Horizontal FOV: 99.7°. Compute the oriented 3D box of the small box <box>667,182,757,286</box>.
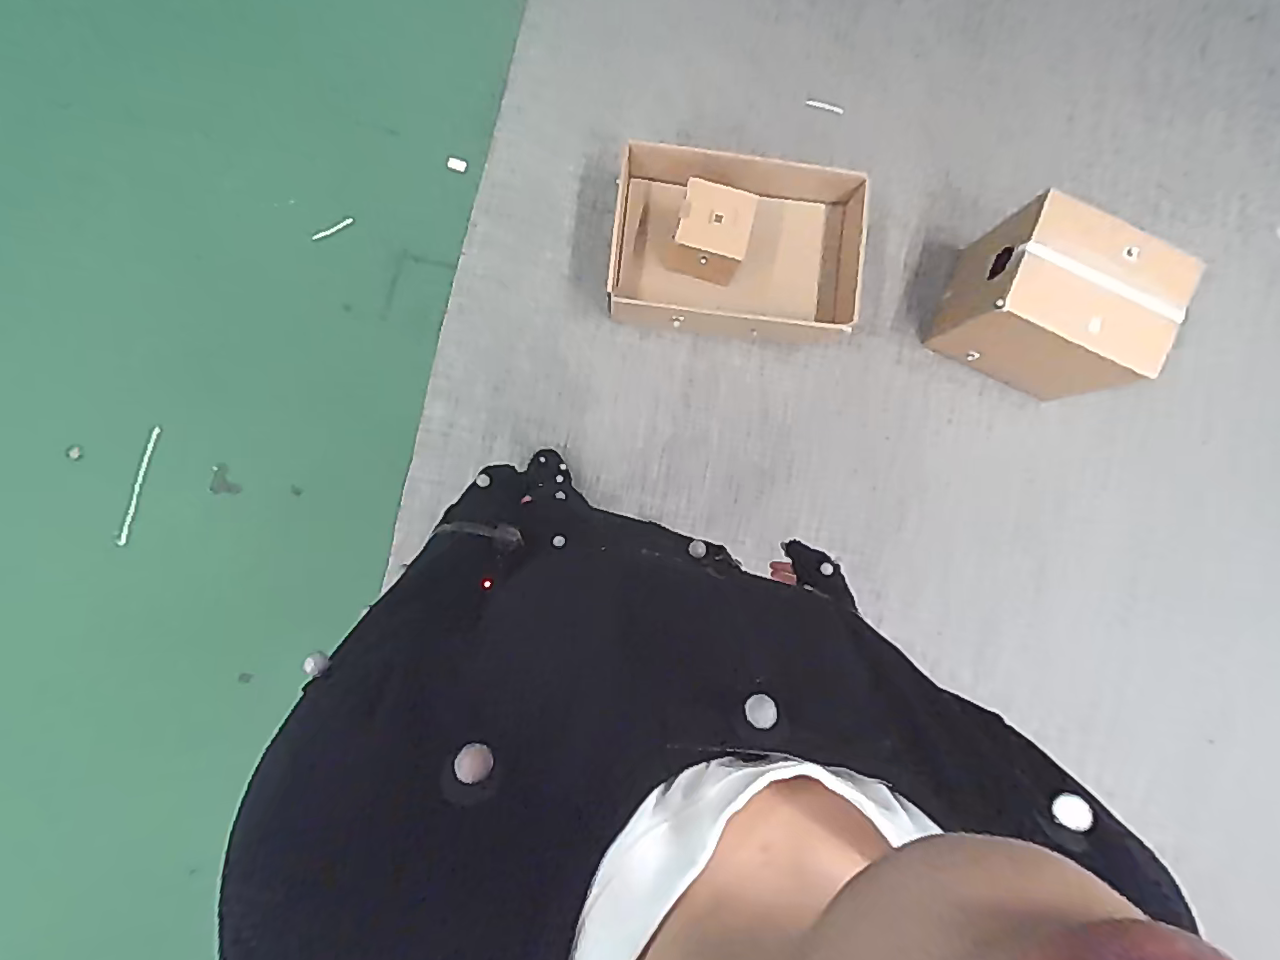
[{"bbox_3d":[0.176,-0.618,1.380,0.179,0.176,0.168,13,88,-5],"label":"small box"}]
